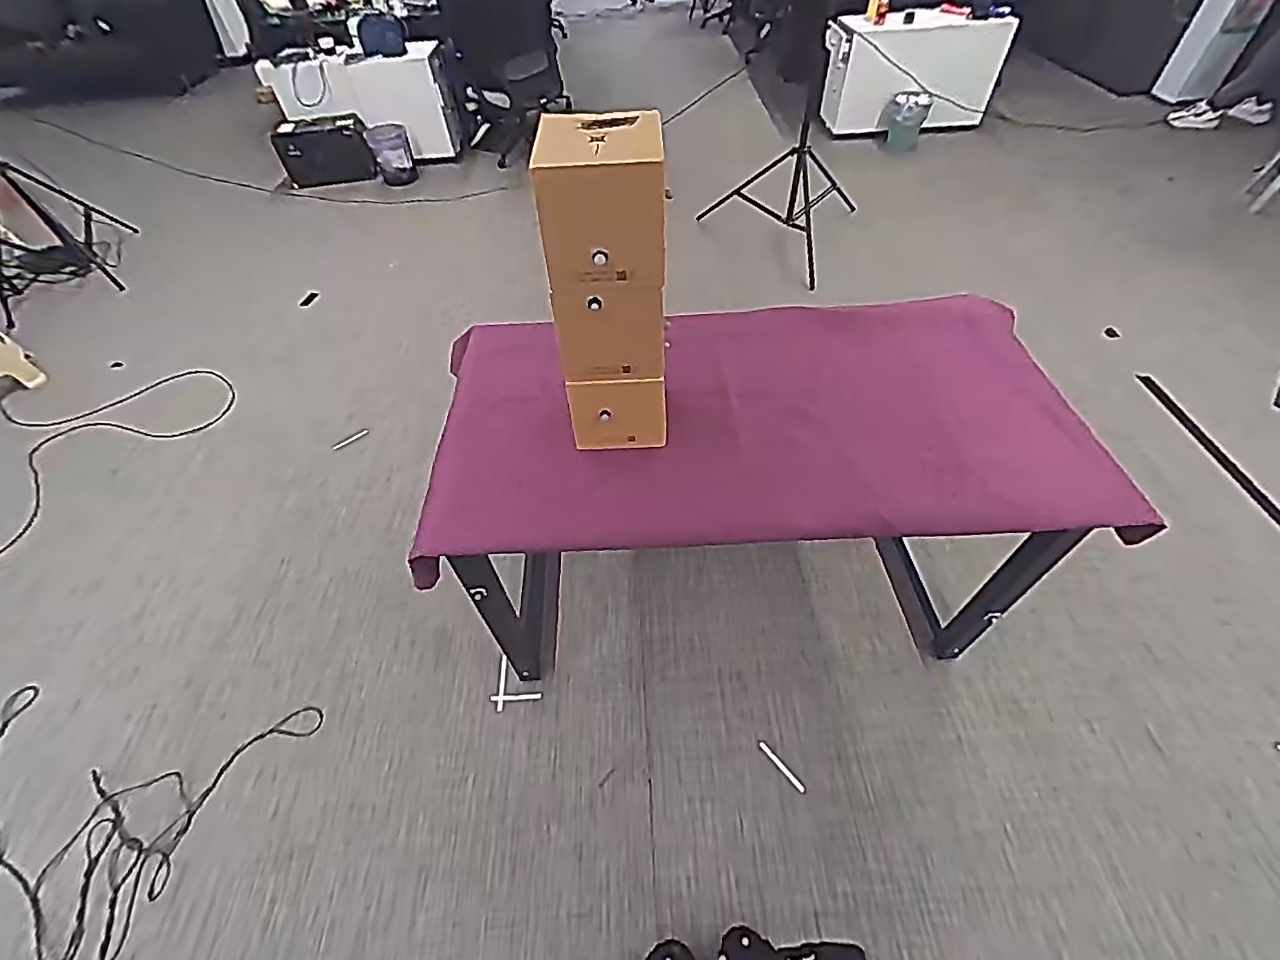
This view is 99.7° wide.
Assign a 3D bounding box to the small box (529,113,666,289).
[{"bbox_3d":[-0.050,-0.389,0.758,0.168,0.176,0.179,-2,51,1],"label":"small box"}]

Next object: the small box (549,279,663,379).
[{"bbox_3d":[-0.048,-0.285,0.886,0.168,0.176,0.179,-3,50,1],"label":"small box"}]

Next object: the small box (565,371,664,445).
[{"bbox_3d":[-0.041,-0.177,1.009,0.168,0.176,0.179,-2,50,1],"label":"small box"}]
